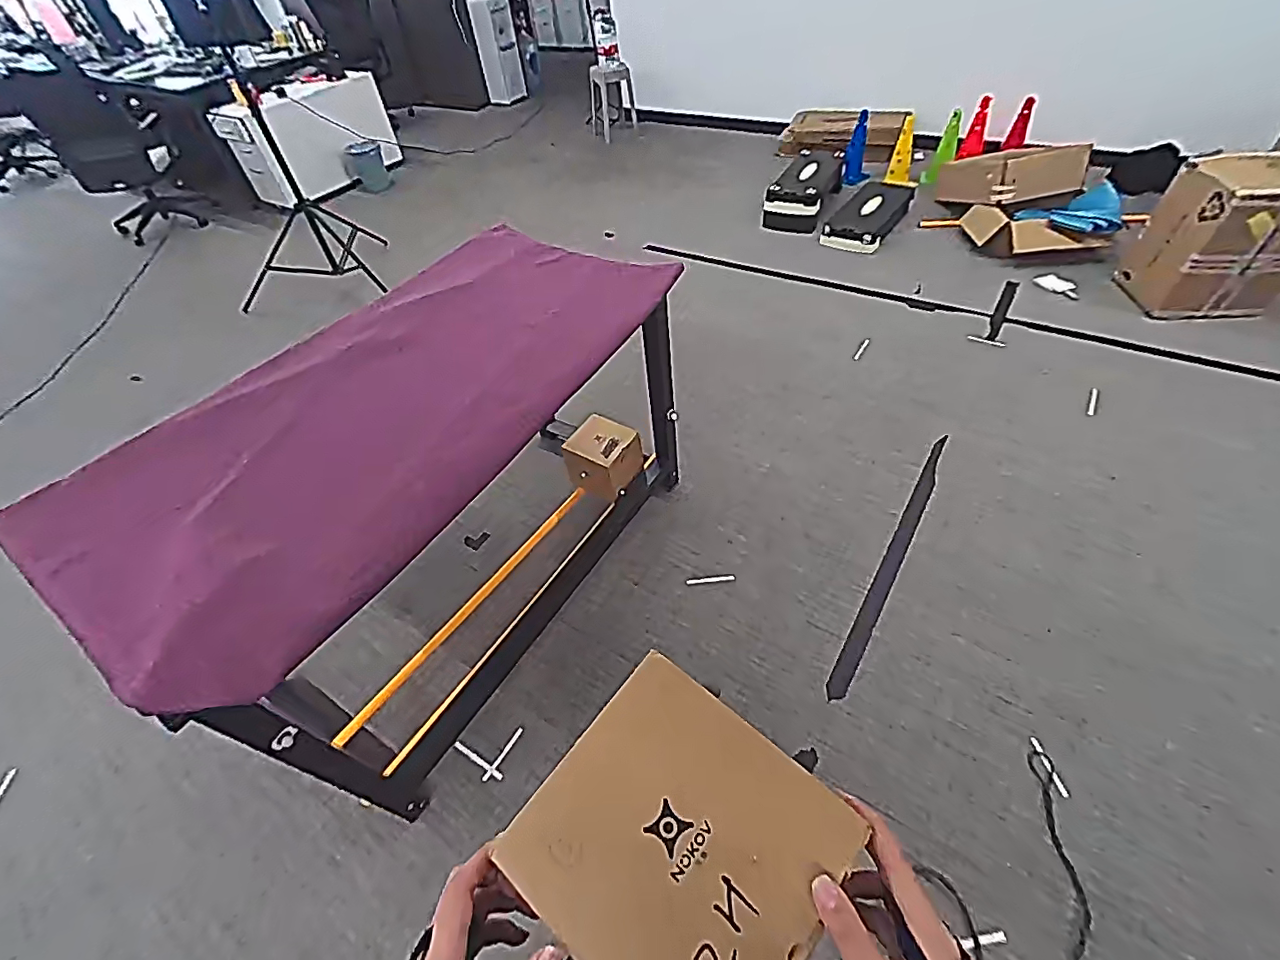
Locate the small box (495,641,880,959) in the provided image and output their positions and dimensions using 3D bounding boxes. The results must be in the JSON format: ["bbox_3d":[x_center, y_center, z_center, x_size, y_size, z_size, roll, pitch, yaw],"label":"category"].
[{"bbox_3d":[0.033,0.255,0.390,0.179,0.176,0.168,33,66,25],"label":"small box"}]

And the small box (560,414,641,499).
[{"bbox_3d":[-0.112,-0.067,1.641,0.179,0.176,0.168,23,56,25],"label":"small box"}]
